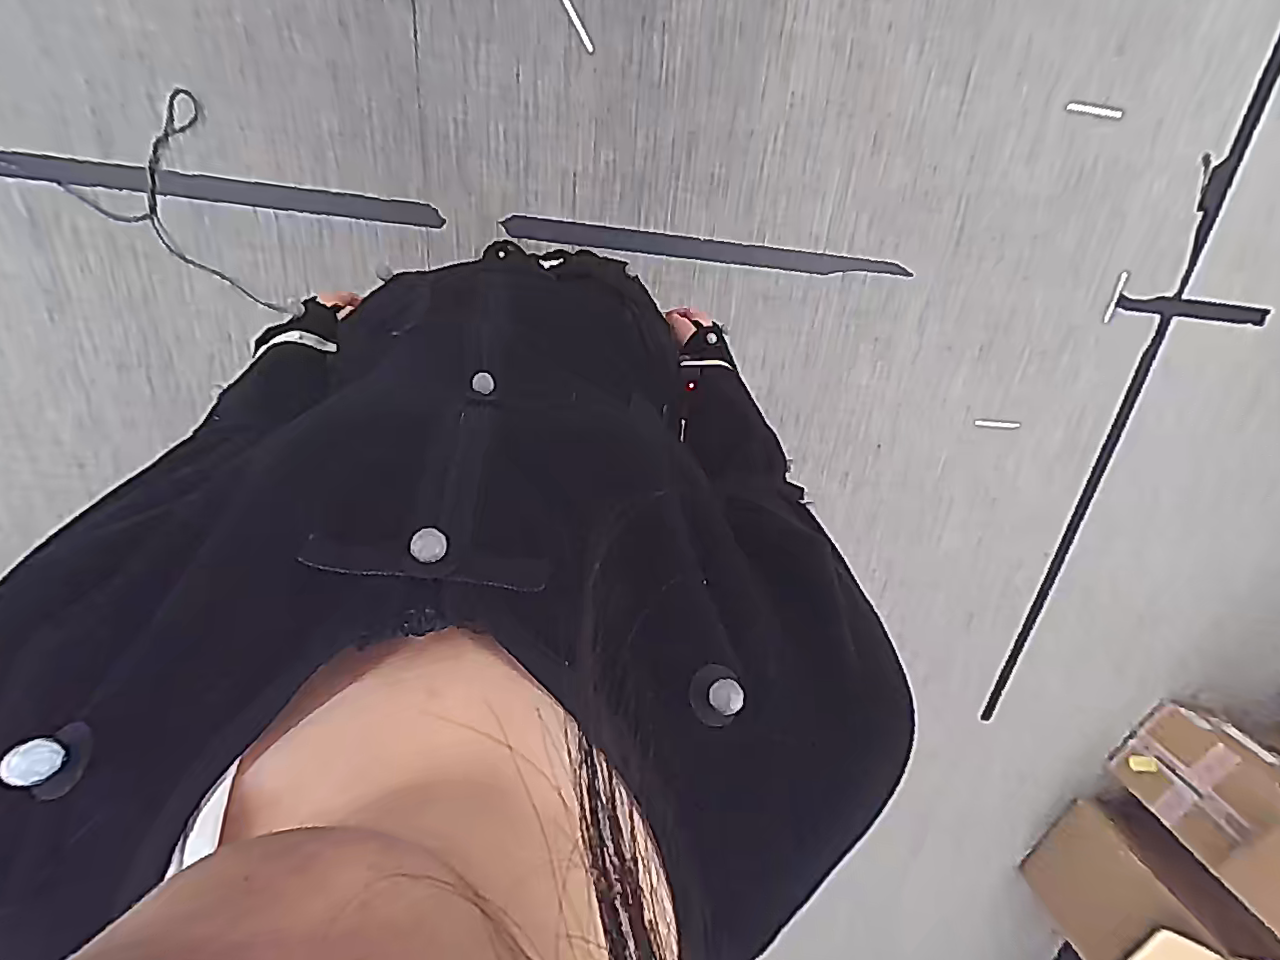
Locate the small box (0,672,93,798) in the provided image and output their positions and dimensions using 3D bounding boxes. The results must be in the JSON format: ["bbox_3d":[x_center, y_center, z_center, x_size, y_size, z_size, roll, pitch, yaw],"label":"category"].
[{"bbox_3d":[-1.401,0.567,1.199,0.168,0.176,0.179,-35,112,7],"label":"small box"}]
